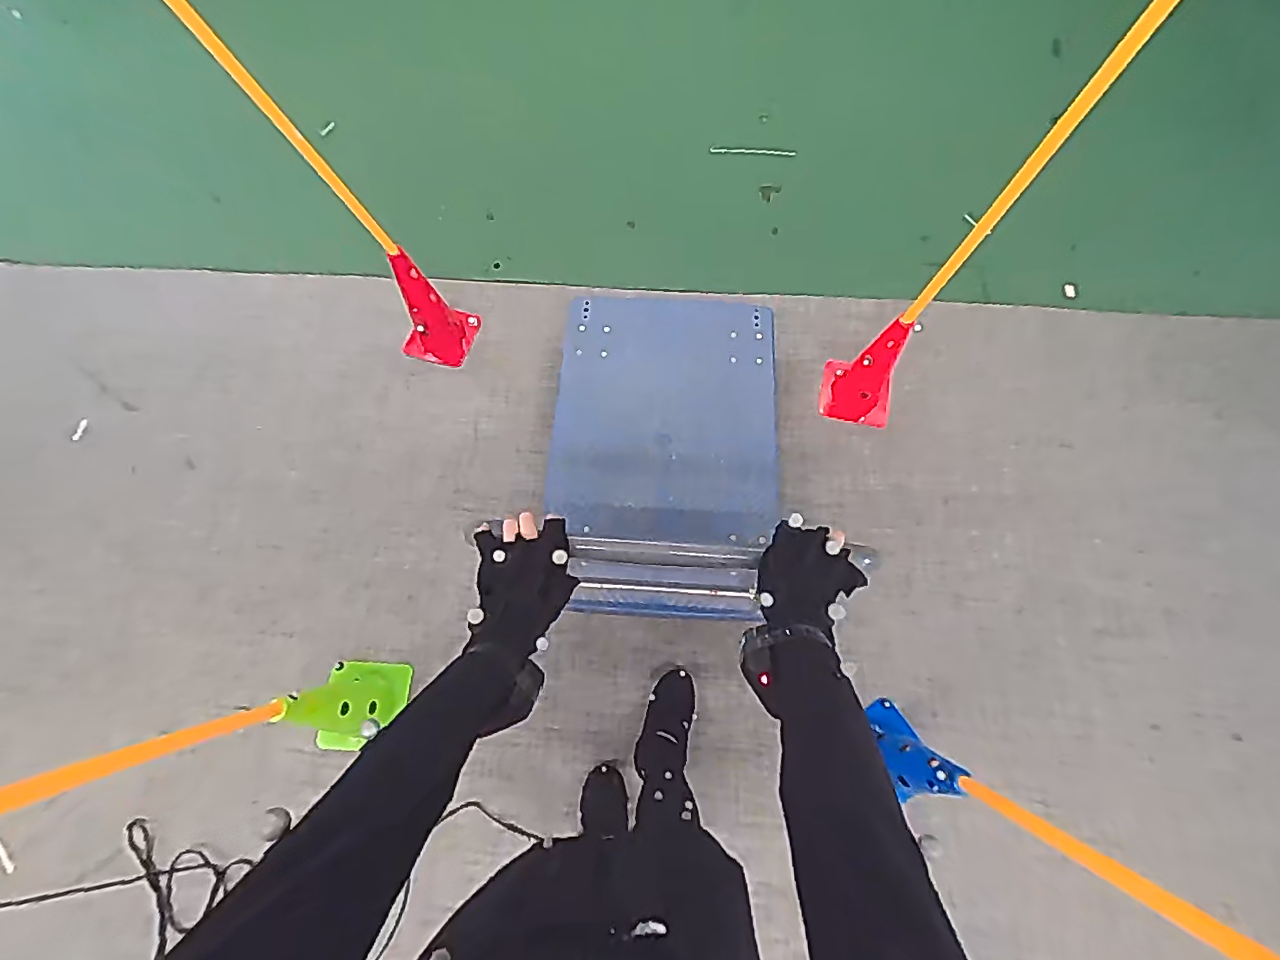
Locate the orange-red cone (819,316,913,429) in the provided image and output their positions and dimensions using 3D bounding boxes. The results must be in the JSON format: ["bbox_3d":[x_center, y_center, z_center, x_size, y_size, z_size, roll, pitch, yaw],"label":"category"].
[{"bbox_3d":[0.644,-0.316,1.465,0.198,0.360,0.199,14,70,6],"label":"orange-red cone"}]
